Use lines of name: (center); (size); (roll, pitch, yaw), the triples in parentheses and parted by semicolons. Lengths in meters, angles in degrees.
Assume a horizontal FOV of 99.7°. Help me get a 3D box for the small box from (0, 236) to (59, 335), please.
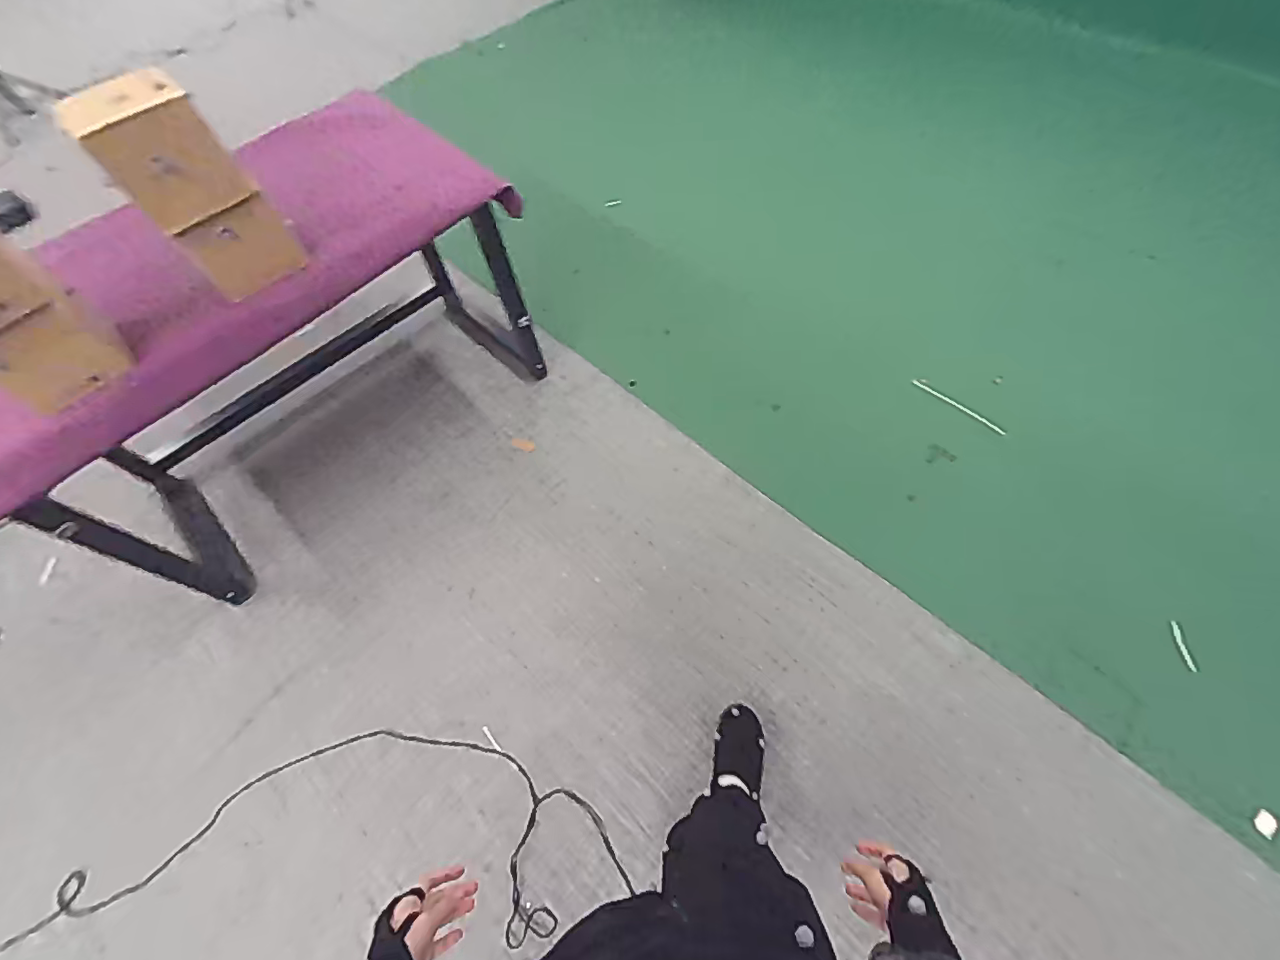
small box: (-1.074, -0.328, 0.828); (0.179, 0.176, 0.168); (36, 70, 23)

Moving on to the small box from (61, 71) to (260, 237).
small box: (-0.820, -0.560, 0.939); (0.179, 0.176, 0.168); (-41, 64, -16)

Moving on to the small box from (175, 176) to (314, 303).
small box: (-0.810, -0.492, 1.089); (0.179, 0.176, 0.168); (-39, 64, -17)
